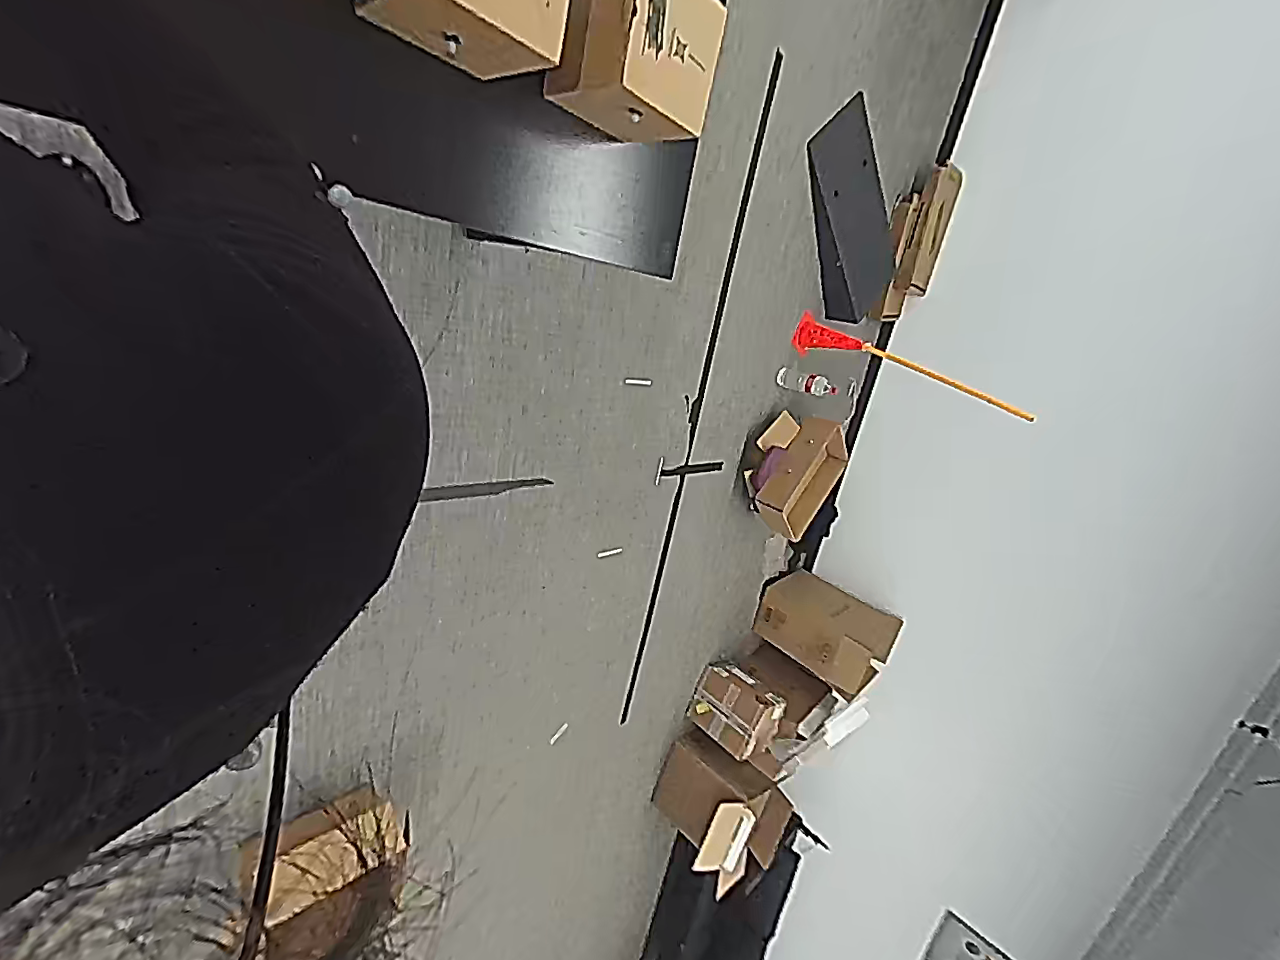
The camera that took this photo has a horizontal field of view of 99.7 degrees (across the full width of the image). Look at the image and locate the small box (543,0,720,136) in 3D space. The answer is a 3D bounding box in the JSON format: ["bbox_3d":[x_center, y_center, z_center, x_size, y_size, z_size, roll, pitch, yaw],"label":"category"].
[{"bbox_3d":[-0.017,-0.620,0.784,0.179,0.176,0.168,-6,115,-48],"label":"small box"}]

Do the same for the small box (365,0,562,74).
[{"bbox_3d":[-0.196,-0.587,0.597,0.168,0.176,0.179,-7,115,-48],"label":"small box"}]
